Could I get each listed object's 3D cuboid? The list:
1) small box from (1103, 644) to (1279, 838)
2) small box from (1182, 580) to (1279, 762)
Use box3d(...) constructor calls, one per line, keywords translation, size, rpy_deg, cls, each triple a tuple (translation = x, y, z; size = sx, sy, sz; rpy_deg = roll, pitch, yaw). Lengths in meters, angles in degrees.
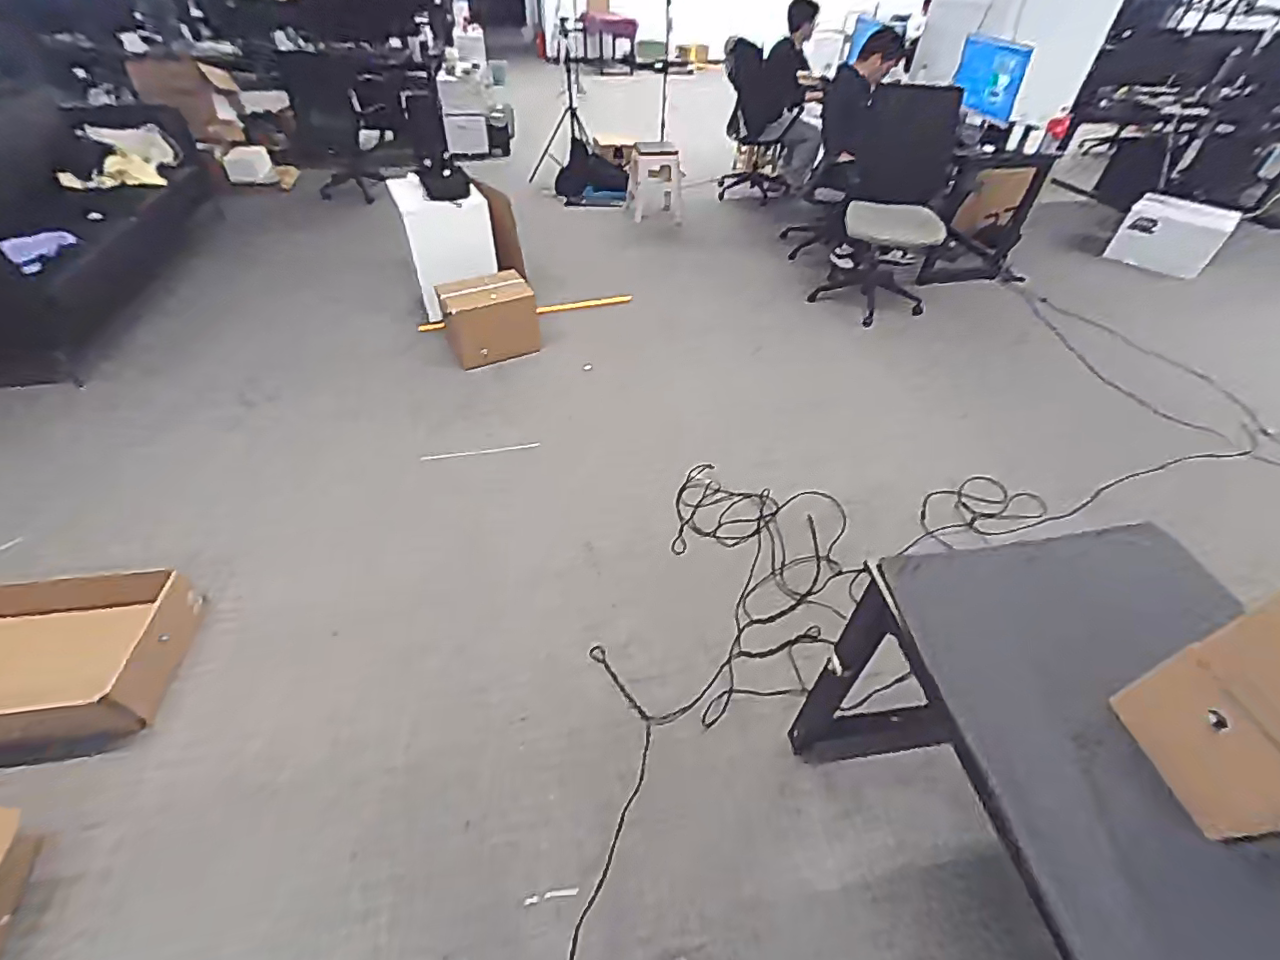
box3d(translation=(0.760, 0.325, 0.686), size=(0.168, 0.176, 0.179), rpy_deg=(-3, 44, -6), cls="small box")
box3d(translation=(0.762, 0.209, 0.568), size=(0.168, 0.176, 0.179), rpy_deg=(-3, 44, -8), cls="small box")
